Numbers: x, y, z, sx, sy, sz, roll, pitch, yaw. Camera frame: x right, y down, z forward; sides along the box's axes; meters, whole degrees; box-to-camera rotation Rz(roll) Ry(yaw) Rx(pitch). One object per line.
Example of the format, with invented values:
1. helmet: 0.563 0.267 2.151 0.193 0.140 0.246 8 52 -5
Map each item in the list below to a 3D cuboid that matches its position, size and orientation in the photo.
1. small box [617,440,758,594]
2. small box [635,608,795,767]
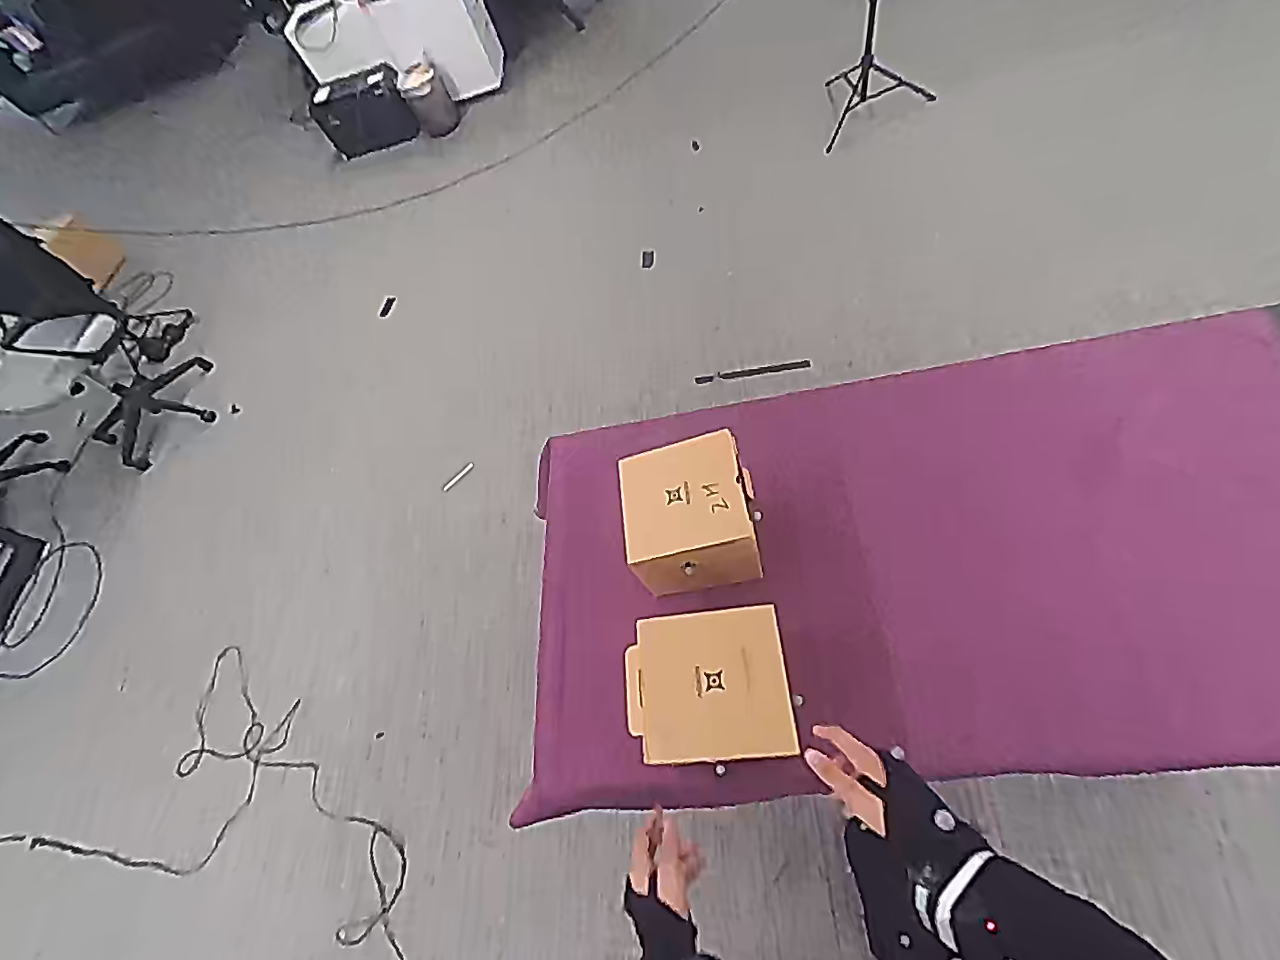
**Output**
1. small box: 0.075 0.065 0.817 0.179 0.176 0.168 -11 61 9
2. small box: 0.100 0.275 0.700 0.179 0.176 0.168 -9 61 11
